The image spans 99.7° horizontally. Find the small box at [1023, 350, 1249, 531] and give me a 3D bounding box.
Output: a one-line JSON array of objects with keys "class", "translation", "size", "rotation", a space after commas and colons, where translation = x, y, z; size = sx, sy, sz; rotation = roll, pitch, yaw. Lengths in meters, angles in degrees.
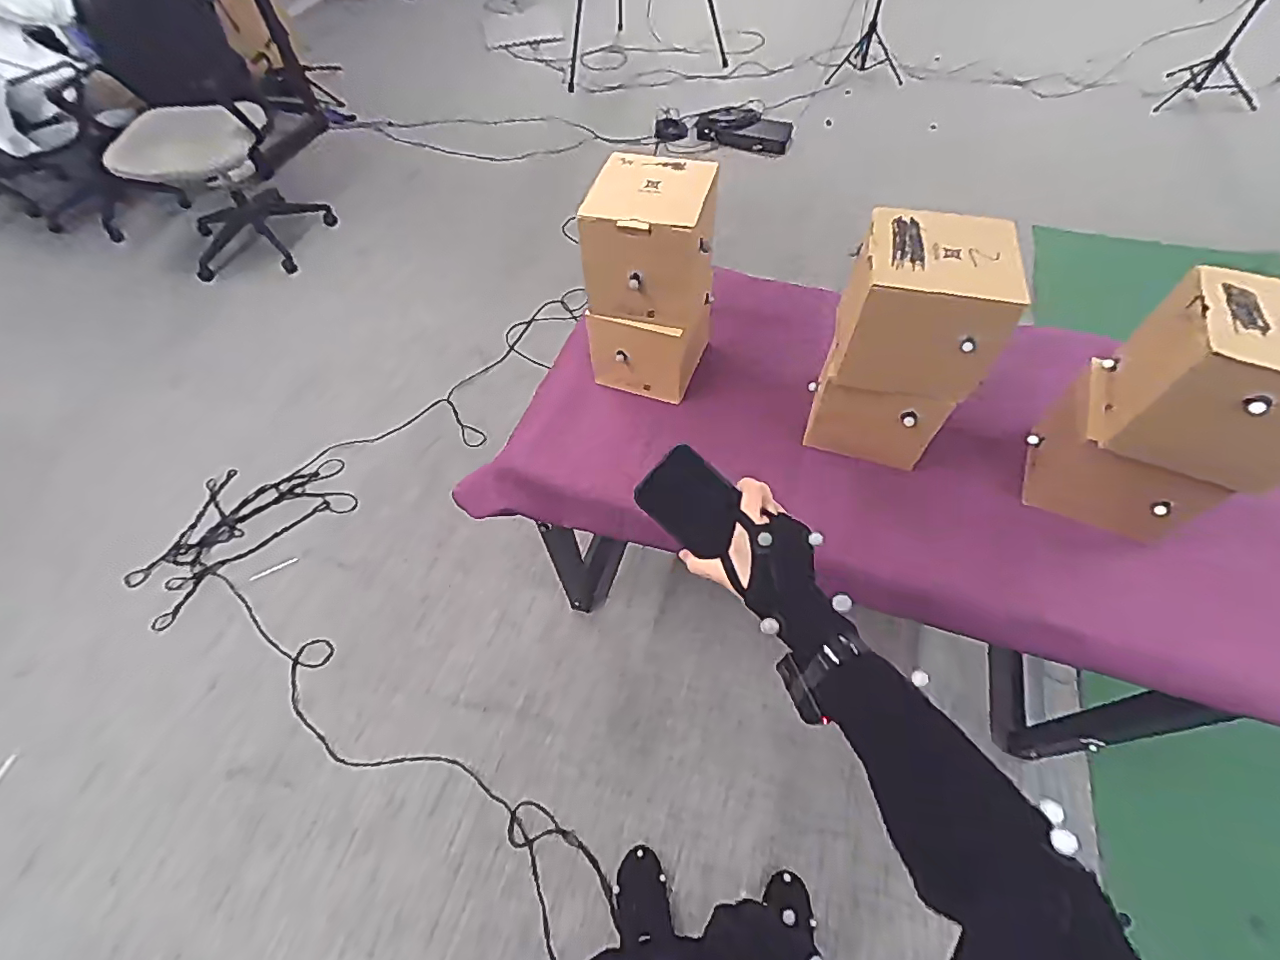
[{"class": "small box", "translation": [0.694, -0.050, 0.772], "size": [0.179, 0.176, 0.168], "rotation": [21, 60, 17]}]

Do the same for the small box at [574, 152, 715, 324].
[{"class": "small box", "translation": [0.014, -0.364, 0.824], "size": [0.168, 0.176, 0.179], "rotation": [12, 59, 10]}]

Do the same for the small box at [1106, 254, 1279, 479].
[{"class": "small box", "translation": [0.689, -0.126, 0.627], "size": [0.179, 0.176, 0.168], "rotation": [21, 60, 16]}]

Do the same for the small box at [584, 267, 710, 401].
[{"class": "small box", "translation": [0.020, -0.267, 0.957], "size": [0.168, 0.176, 0.179], "rotation": [16, 59, 14]}]

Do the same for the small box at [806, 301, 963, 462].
[{"class": "small box", "translation": [0.379, -0.150, 0.856], "size": [0.179, 0.176, 0.168], "rotation": [15, 58, 13]}]
